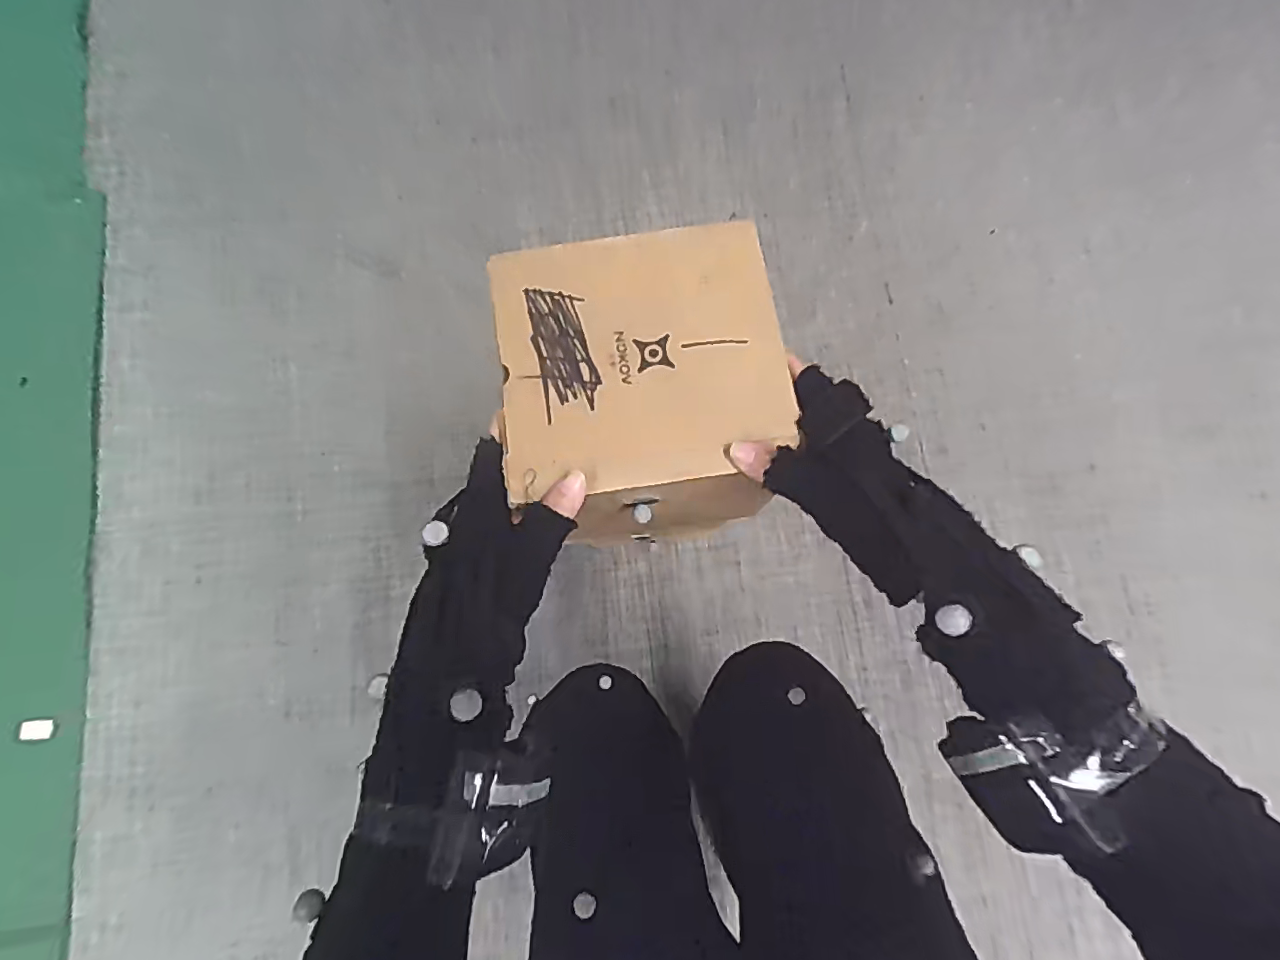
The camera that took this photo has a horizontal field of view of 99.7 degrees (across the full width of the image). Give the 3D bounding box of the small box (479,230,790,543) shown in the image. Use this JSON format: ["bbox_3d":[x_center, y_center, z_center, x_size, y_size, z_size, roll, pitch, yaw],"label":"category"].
[{"bbox_3d":[-0.006,-0.052,0.406,0.179,0.176,0.168,-8,76,-1],"label":"small box"}]
